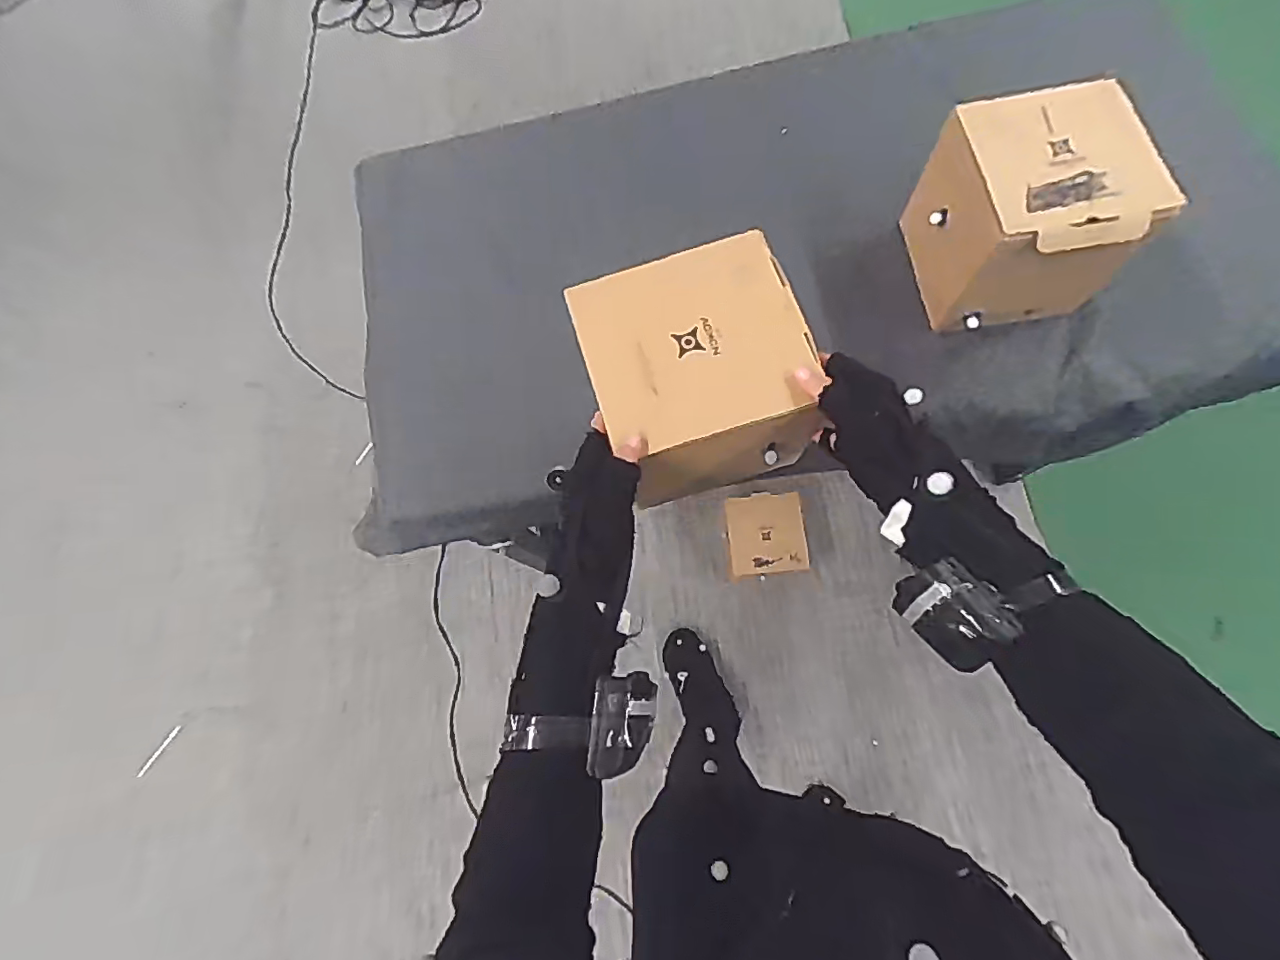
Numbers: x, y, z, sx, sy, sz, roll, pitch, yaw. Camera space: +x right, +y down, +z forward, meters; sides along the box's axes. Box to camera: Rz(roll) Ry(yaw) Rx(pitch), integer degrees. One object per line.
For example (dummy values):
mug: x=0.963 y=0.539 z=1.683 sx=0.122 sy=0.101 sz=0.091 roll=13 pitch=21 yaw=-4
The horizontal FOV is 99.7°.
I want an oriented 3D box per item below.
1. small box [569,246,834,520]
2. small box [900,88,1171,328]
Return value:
small box: x=0.052 y=-0.076 z=0.510 sx=0.179 sy=0.176 sz=0.168 roll=-19 pitch=72 yaw=2
small box: x=0.423 y=-0.292 z=0.618 sx=0.168 sy=0.176 sz=0.179 roll=-7 pitch=71 yaw=4
